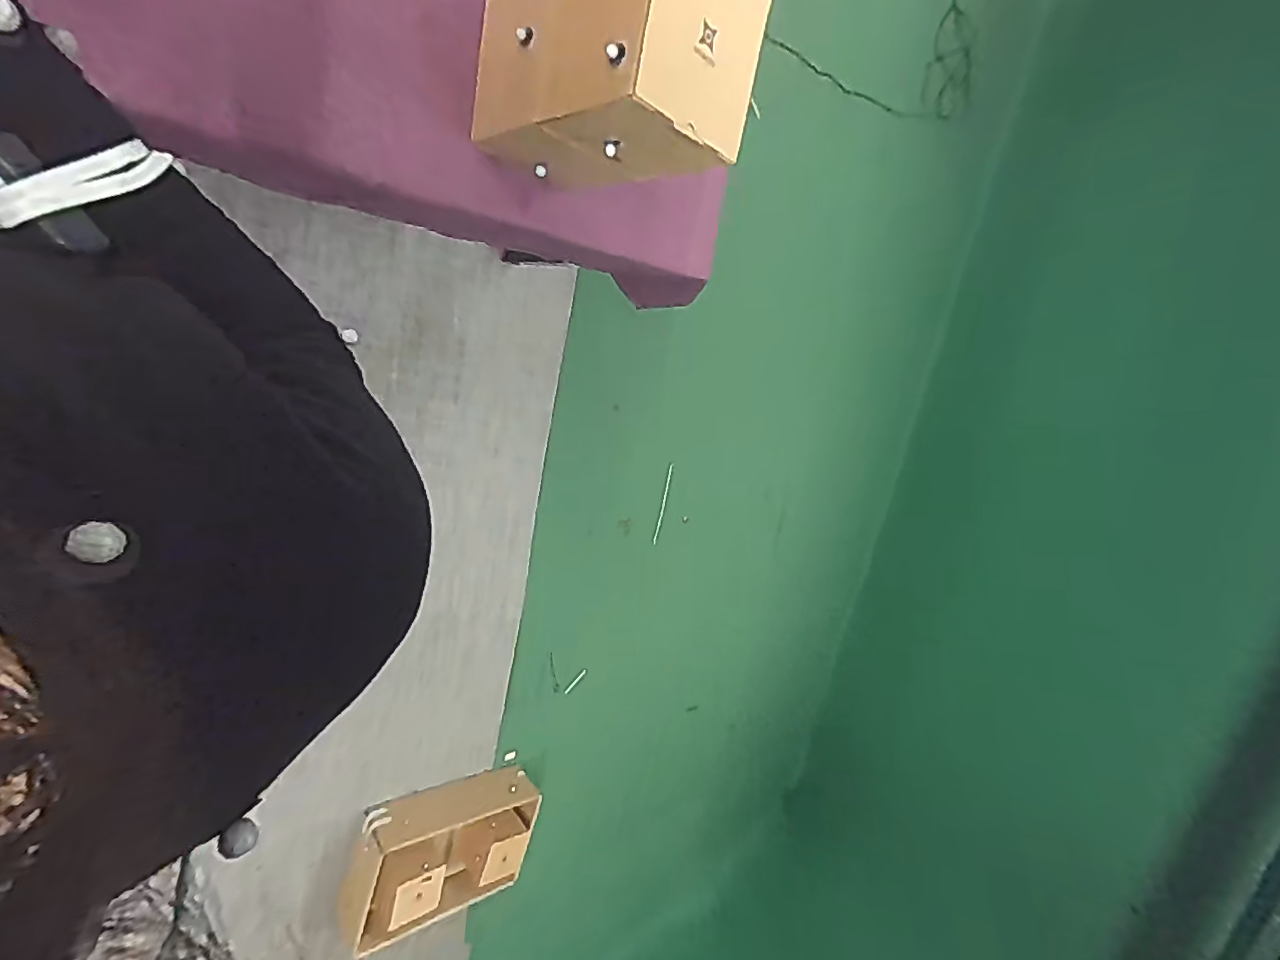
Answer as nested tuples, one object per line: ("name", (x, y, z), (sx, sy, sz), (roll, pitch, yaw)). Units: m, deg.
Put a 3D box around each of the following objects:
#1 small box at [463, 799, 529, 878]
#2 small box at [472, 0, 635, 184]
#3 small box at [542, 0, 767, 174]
("small box", (-0.560, 1.366, 2.082), (0.168, 0.176, 0.179), (13, 98, -45))
("small box", (-0.103, -0.513, 0.710), (0.168, 0.176, 0.179), (-1, 108, -44))
("small box", (0.010, -0.466, 0.601), (0.168, 0.176, 0.179), (-2, 109, -45))
